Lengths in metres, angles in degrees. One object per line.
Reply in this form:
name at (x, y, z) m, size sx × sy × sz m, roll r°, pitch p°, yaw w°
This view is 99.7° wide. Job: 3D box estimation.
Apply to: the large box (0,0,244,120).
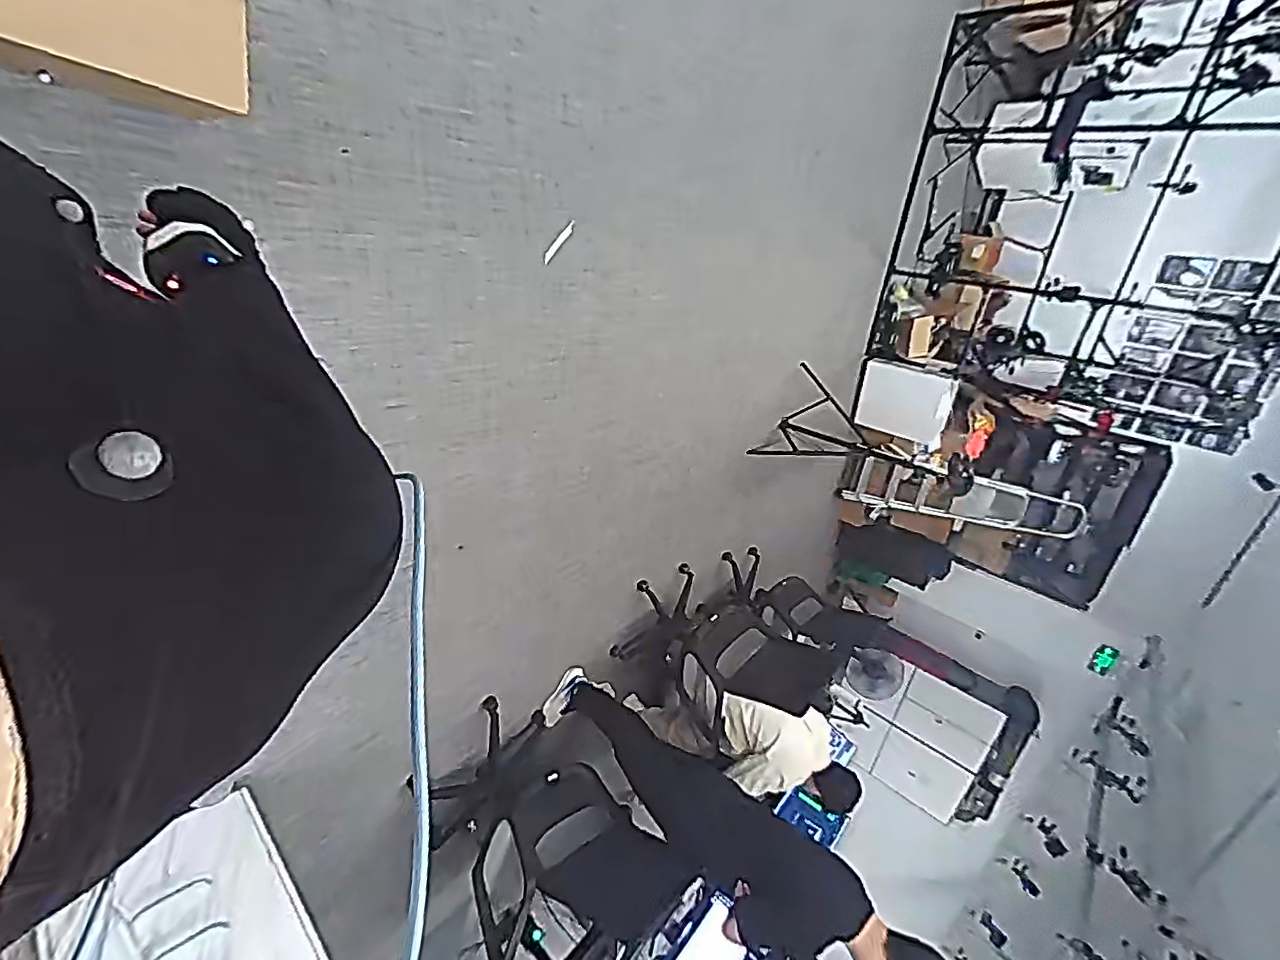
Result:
large box at (-0.814, -0.716, 0.703) m, size 0.408 × 0.320 × 0.320 m, roll -13°, pitch 120°, yaw -50°
